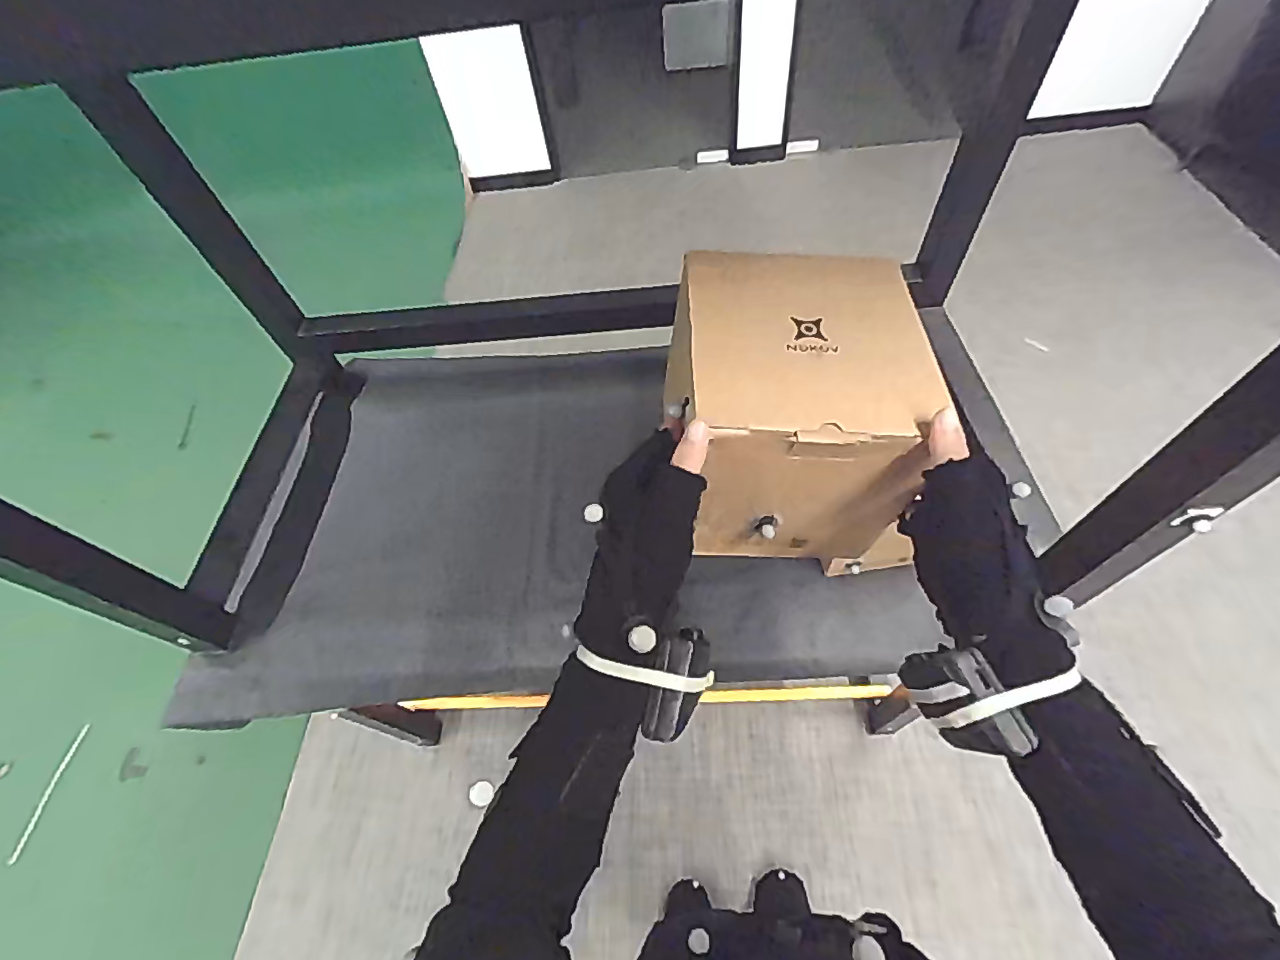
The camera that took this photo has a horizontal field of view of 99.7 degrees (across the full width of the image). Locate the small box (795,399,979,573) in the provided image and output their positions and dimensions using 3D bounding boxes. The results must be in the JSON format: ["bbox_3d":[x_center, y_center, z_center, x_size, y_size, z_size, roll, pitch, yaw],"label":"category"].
[{"bbox_3d":[0.325,0.017,0.755,0.168,0.176,0.179,-9,53,2],"label":"small box"}]
